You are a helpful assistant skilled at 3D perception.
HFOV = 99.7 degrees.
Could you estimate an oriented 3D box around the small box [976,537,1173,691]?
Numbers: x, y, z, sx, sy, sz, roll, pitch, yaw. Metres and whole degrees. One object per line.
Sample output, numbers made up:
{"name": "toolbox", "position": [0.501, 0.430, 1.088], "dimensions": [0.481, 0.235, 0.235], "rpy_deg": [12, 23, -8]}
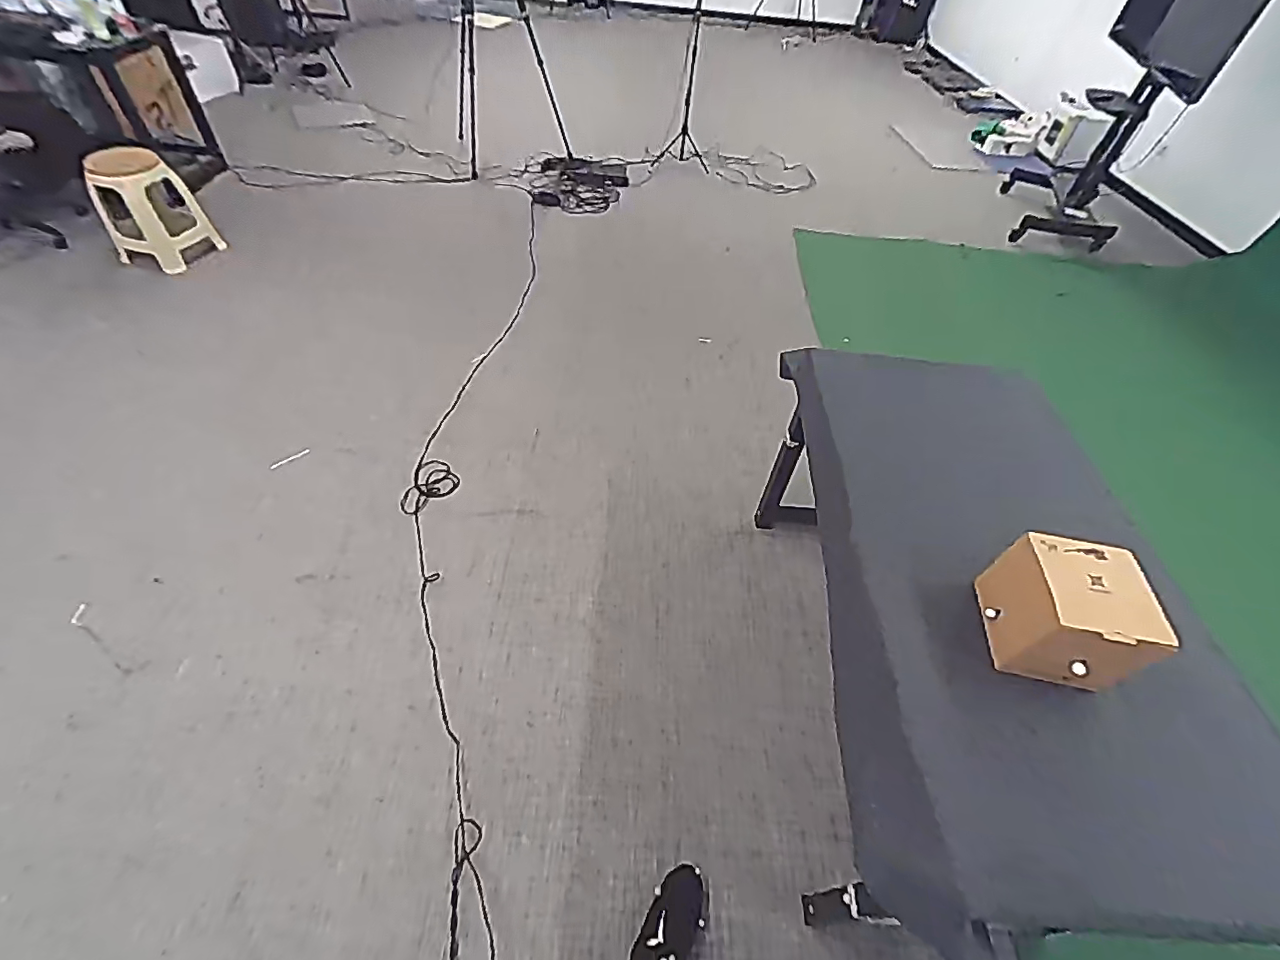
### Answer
{"name": "small box", "position": [0.691, 0.224, 0.889], "dimensions": [0.168, 0.176, 0.179], "rpy_deg": [11, 50, 4]}
